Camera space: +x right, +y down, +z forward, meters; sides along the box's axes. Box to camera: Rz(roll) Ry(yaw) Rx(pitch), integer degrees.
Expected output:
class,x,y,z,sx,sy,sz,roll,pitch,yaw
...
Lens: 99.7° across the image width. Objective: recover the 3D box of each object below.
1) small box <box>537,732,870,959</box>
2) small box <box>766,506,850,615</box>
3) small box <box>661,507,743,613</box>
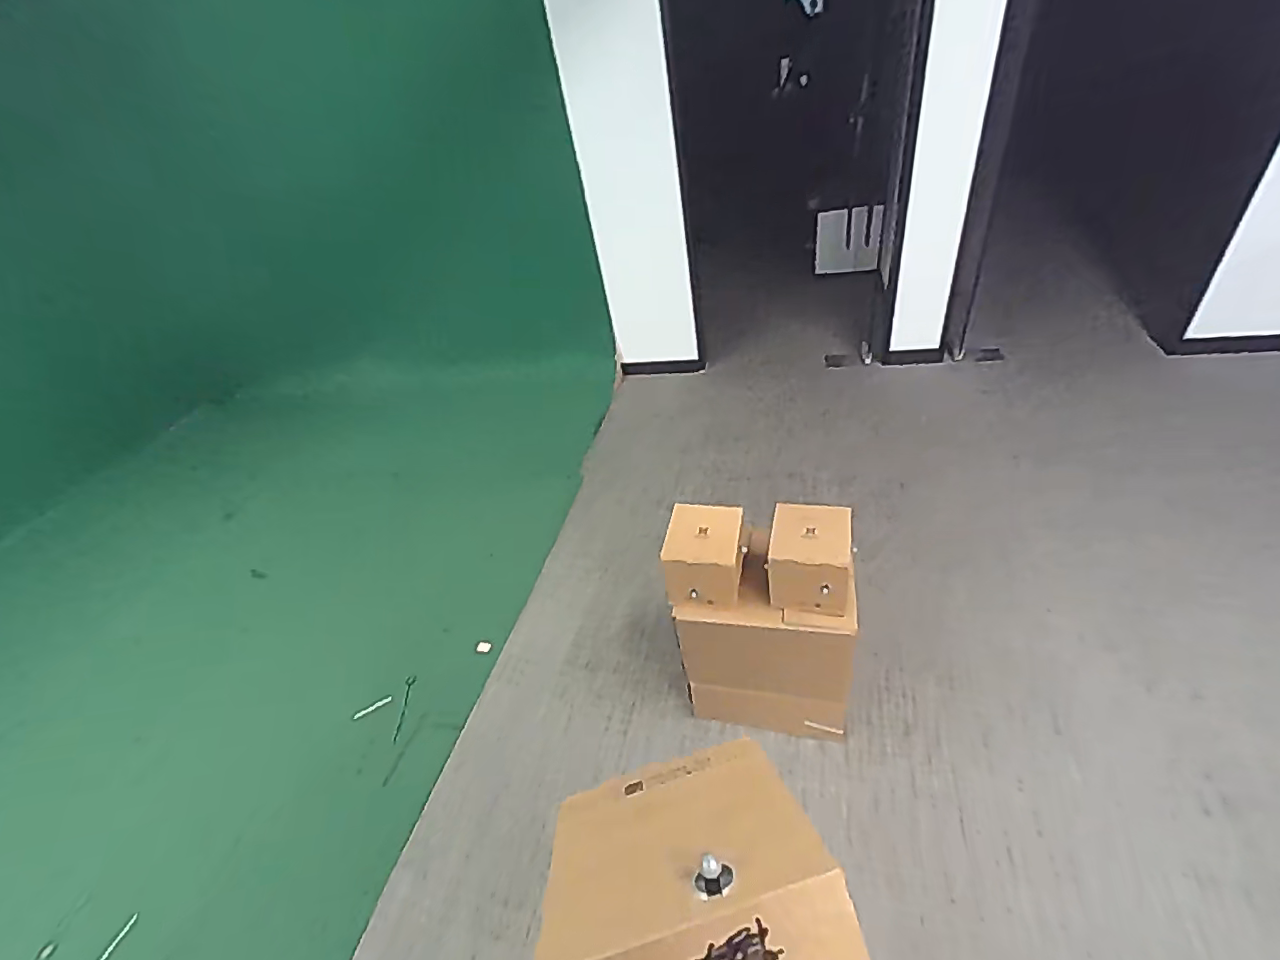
class,x,y,z,sx,sy,sz,roll,pitch,yaw
small box,0.045,0.302,0.352,0.168,0.179,0.176,-17,-2,-5
small box,0.382,0.181,1.219,0.168,0.176,0.179,2,40,20
small box,0.153,0.187,1.278,0.168,0.176,0.179,2,43,16
